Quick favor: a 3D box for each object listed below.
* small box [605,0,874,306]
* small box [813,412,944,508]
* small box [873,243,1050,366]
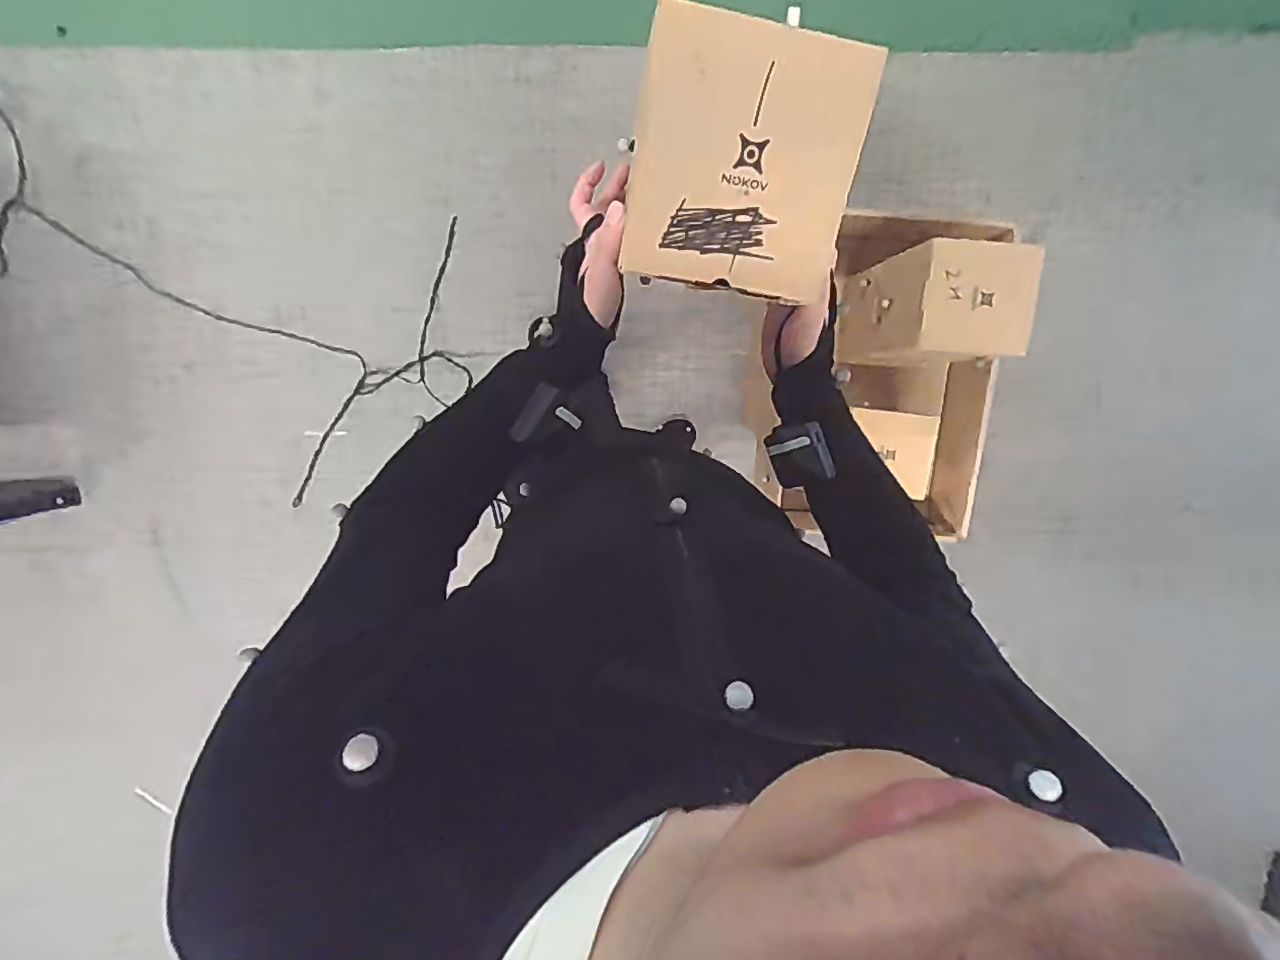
[{"bbox_3d":[0.064,-0.259,0.465,0.168,0.176,0.179,7,112,-7],"label":"small box"},{"bbox_3d":[0.474,-0.048,1.100,0.179,0.176,0.168,5,100,-1],"label":"small box"},{"bbox_3d":[0.516,-0.279,0.892,0.179,0.176,0.168,4,100,-1],"label":"small box"}]
